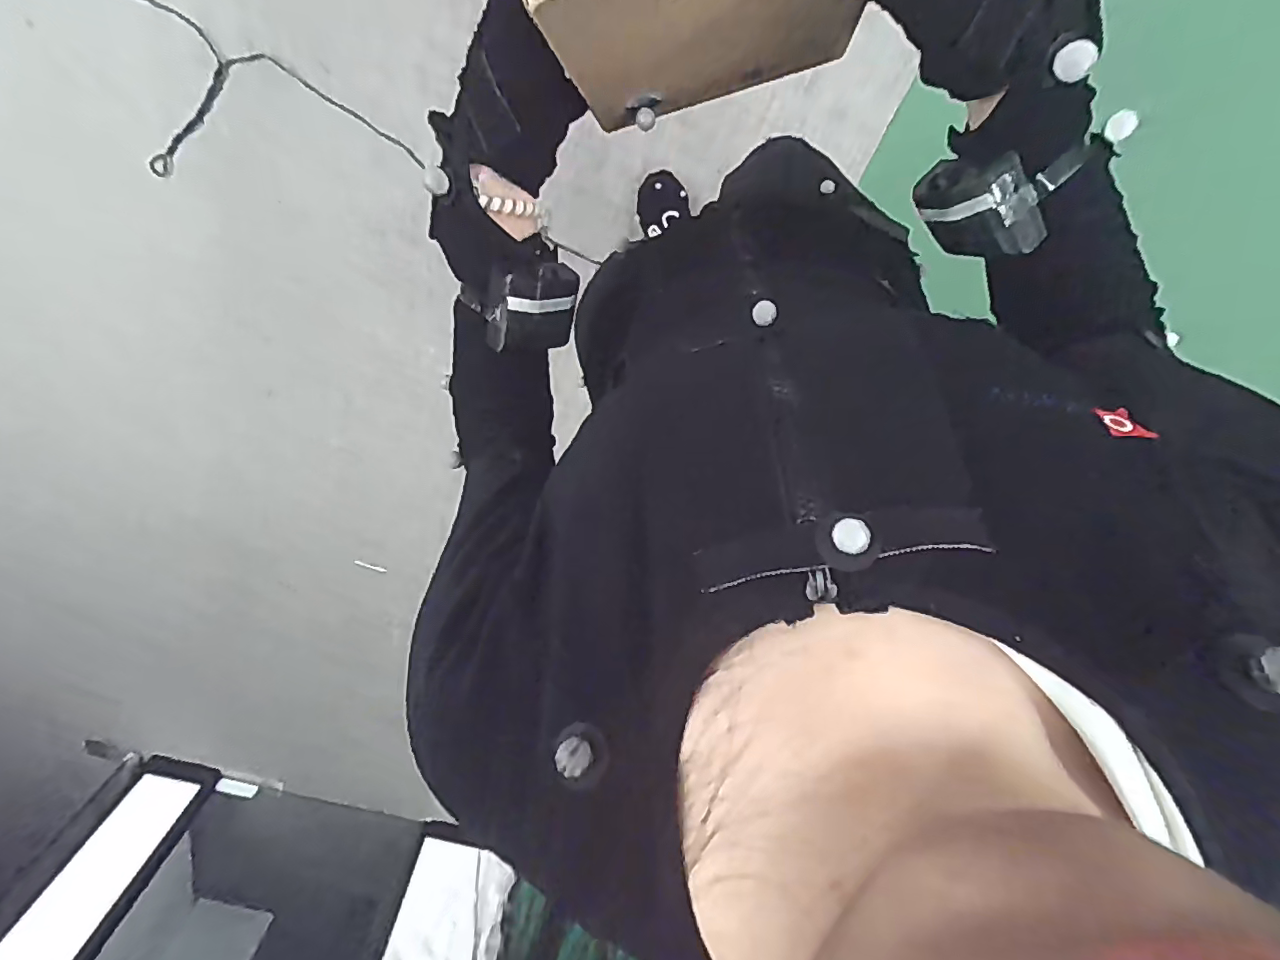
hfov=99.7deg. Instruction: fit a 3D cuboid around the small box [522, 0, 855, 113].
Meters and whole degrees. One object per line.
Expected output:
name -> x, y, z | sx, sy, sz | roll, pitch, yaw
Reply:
small box -> 0.022, -0.318, 0.271 | 0.168, 0.176, 0.179 | -11, 103, 12
